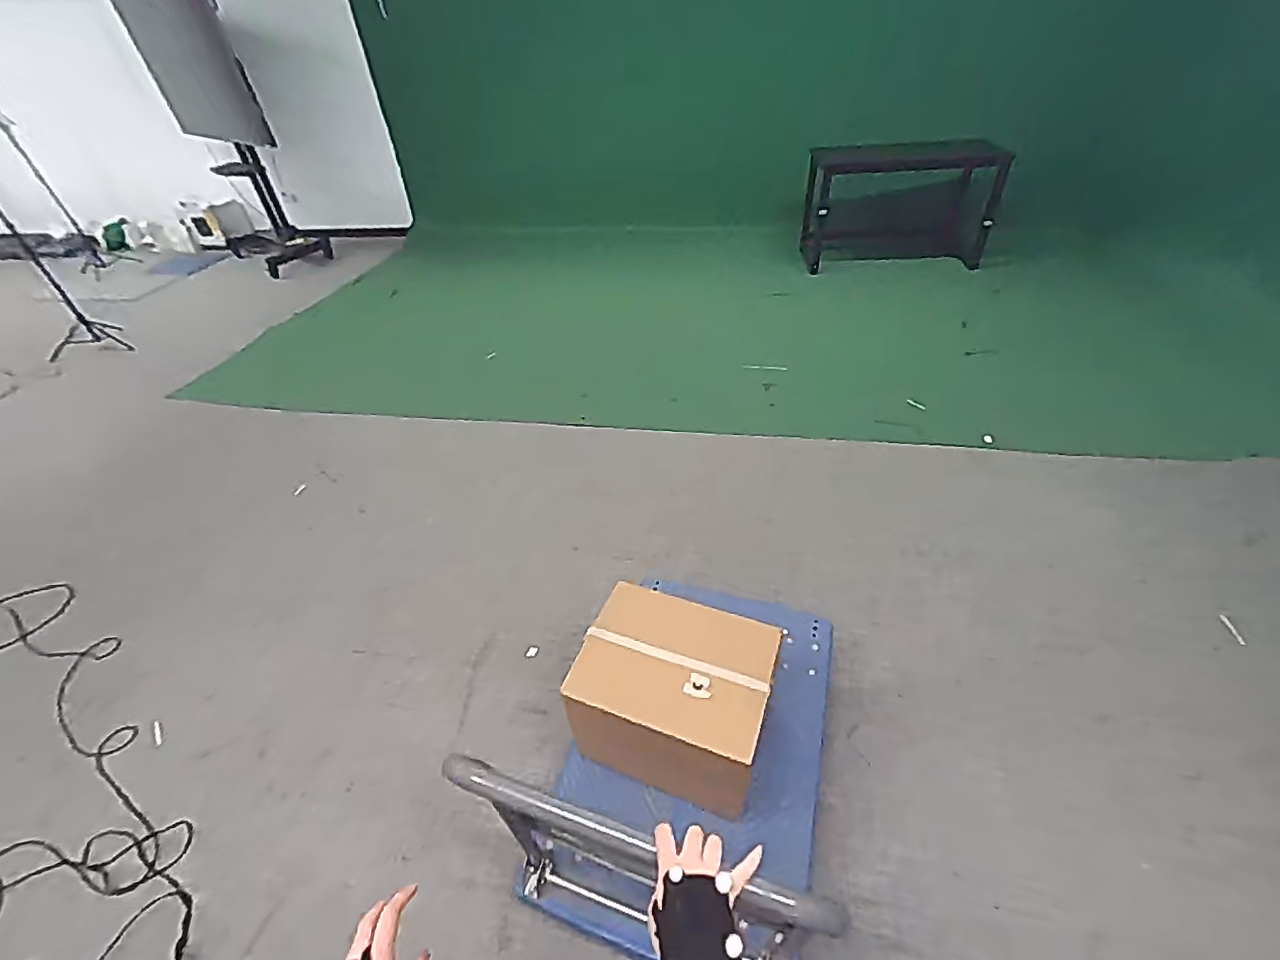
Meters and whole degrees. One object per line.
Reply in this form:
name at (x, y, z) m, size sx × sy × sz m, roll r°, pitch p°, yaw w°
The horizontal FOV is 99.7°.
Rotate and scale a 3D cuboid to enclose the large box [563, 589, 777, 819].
large box at (0.076, 0.514, 1.272) m, size 0.408 × 0.320 × 0.320 m, roll 13°, pitch 43°, yaw 17°
